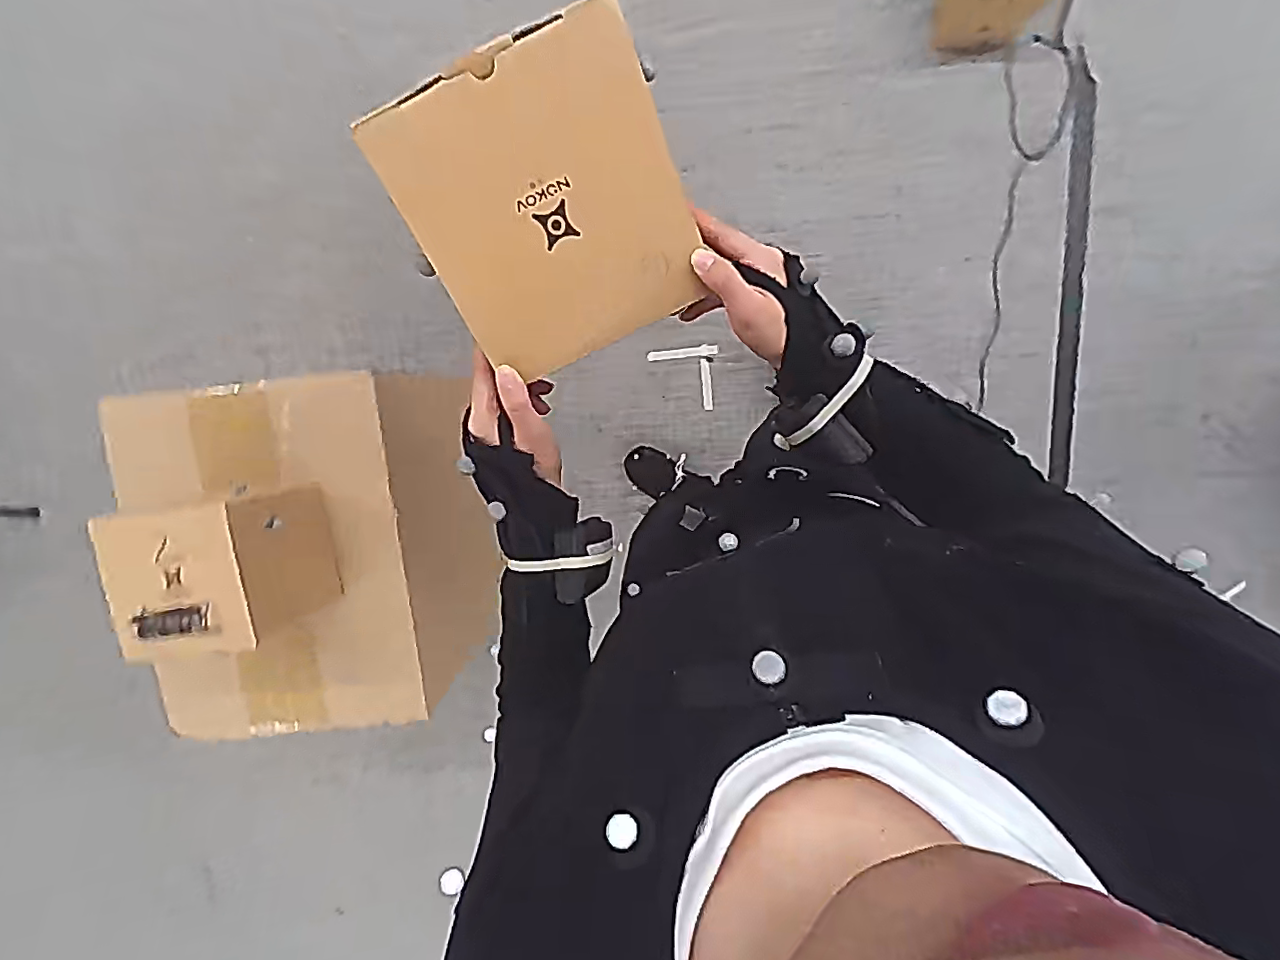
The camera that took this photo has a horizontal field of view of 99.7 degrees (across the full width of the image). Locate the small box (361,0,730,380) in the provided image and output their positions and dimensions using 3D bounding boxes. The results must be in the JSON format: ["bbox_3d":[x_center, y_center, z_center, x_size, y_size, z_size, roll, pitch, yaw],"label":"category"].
[{"bbox_3d":[-0.055,-0.203,0.394,0.168,0.176,0.179,-25,117,4],"label":"small box"}]

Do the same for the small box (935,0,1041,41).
[{"bbox_3d":[0.718,-1.040,1.090,0.168,0.176,0.179,-2,99,5],"label":"small box"}]
